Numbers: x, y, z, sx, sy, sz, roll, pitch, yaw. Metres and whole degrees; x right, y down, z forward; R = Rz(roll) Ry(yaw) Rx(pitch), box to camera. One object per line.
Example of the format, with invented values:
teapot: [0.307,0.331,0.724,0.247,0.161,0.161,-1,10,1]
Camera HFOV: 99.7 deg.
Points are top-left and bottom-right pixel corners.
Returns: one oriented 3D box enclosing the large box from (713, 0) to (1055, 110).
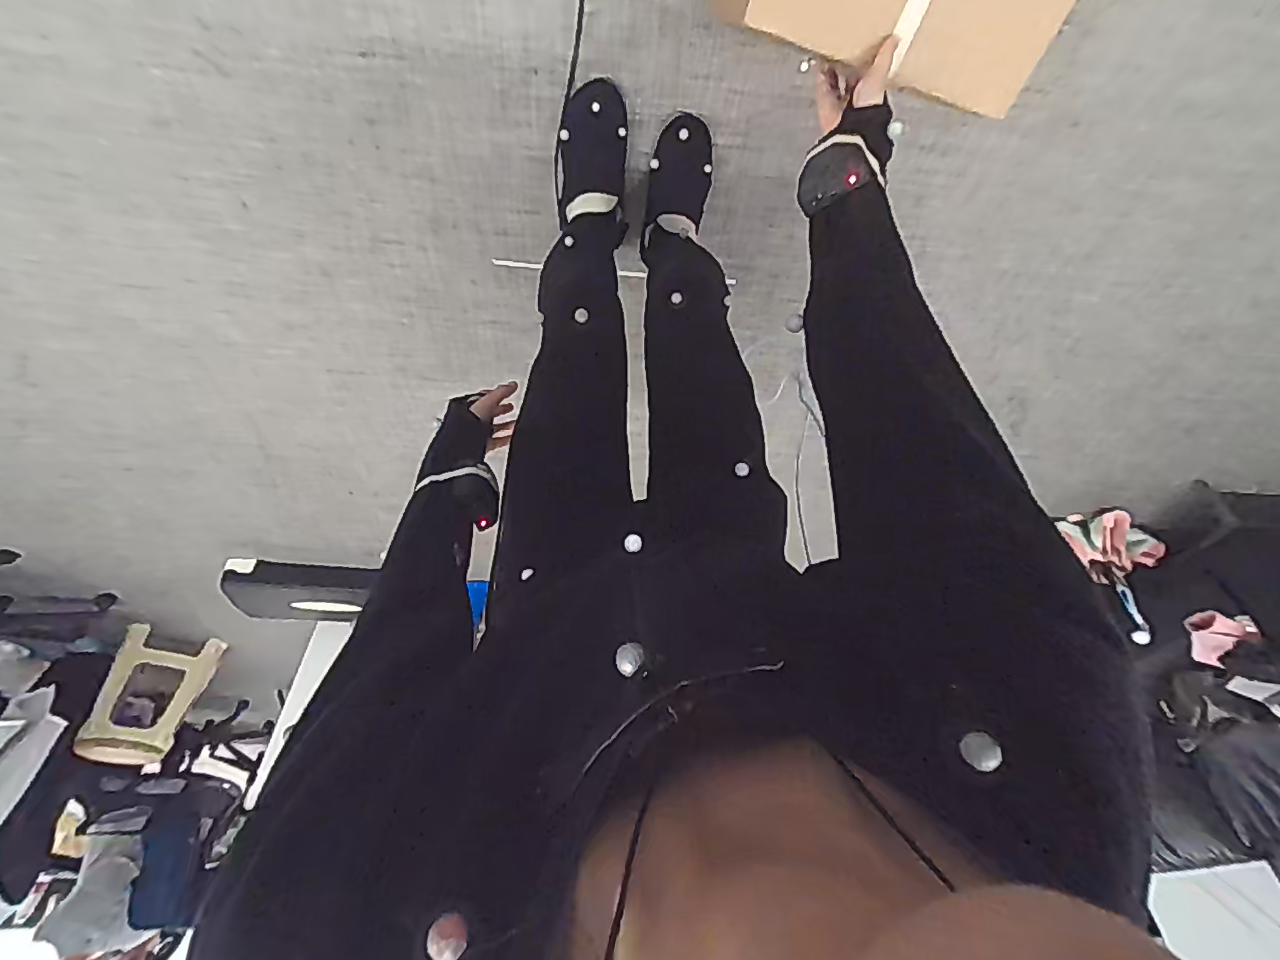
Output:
large box: [0.294,-0.679,0.566,0.320,0.320,0.408,11,130,-11]
